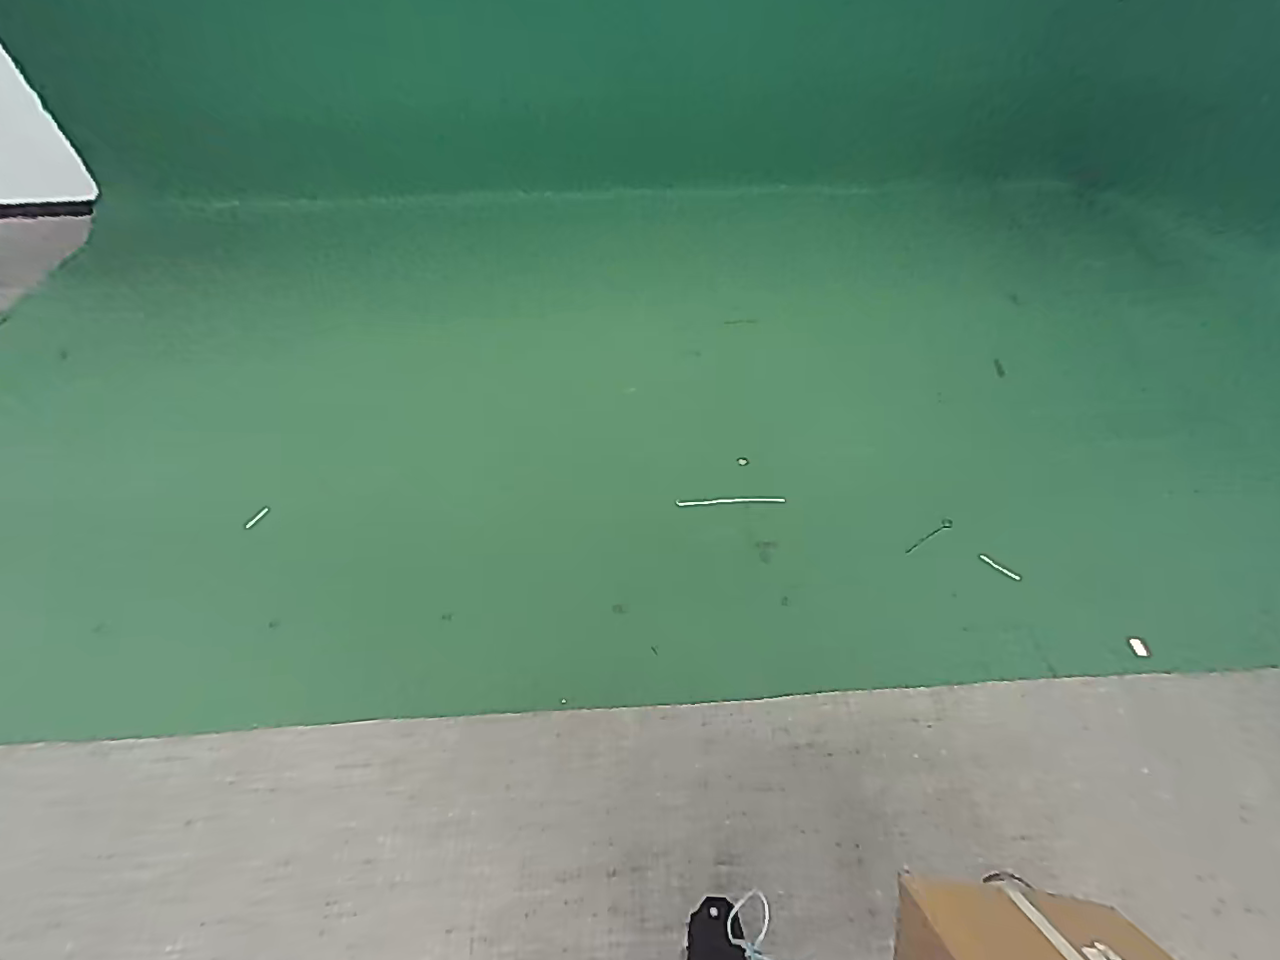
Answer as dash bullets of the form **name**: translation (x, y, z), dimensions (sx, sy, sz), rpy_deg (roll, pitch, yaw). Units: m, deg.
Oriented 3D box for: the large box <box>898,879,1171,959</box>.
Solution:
- **large box**: translation (0.522, 0.749, 0.601), dimensions (0.320, 0.408, 0.320), rpy_deg (7, 85, 4)
